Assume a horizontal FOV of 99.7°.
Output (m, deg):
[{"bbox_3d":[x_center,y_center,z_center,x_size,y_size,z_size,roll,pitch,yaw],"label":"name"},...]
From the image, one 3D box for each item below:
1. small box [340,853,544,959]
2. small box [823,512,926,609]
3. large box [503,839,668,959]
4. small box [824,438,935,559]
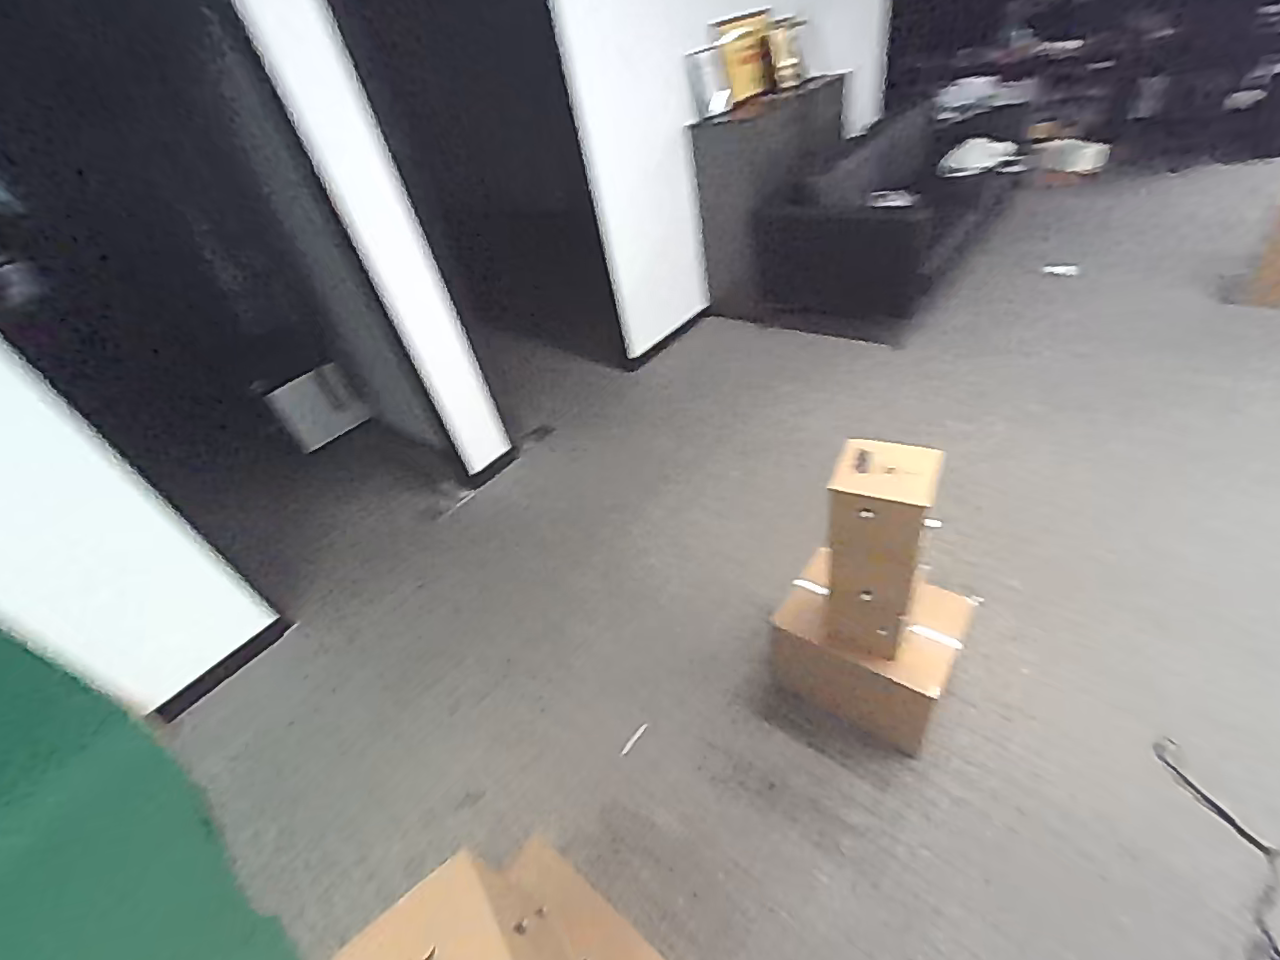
[{"bbox_3d":[-0.218,0.604,0.645,0.179,0.176,0.168,-34,42,-20],"label":"small box"},{"bbox_3d":[0.520,0.162,1.209,0.179,0.176,0.168,13,47,29],"label":"small box"},{"bbox_3d":[-0.126,1.008,1.040,0.408,0.320,0.320,19,49,36],"label":"large box"},{"bbox_3d":[0.484,0.039,1.104,0.179,0.176,0.168,12,47,29],"label":"small box"}]
